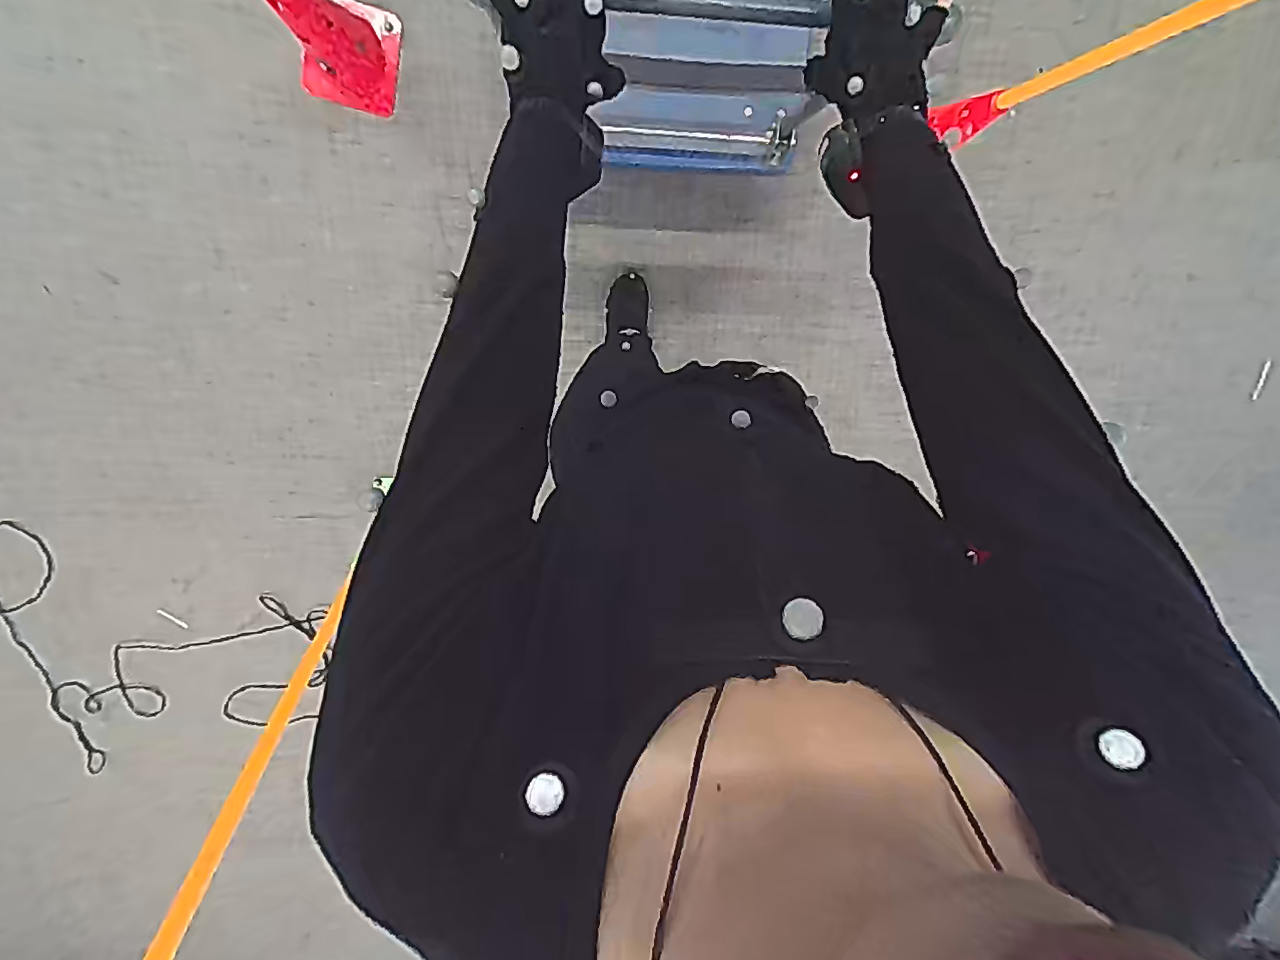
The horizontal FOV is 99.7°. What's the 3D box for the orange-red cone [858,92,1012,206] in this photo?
[{"bbox_3d":[0.648,-0.731,1.140,0.198,0.360,0.199,12,108,-6],"label":"orange-red cone"}]
